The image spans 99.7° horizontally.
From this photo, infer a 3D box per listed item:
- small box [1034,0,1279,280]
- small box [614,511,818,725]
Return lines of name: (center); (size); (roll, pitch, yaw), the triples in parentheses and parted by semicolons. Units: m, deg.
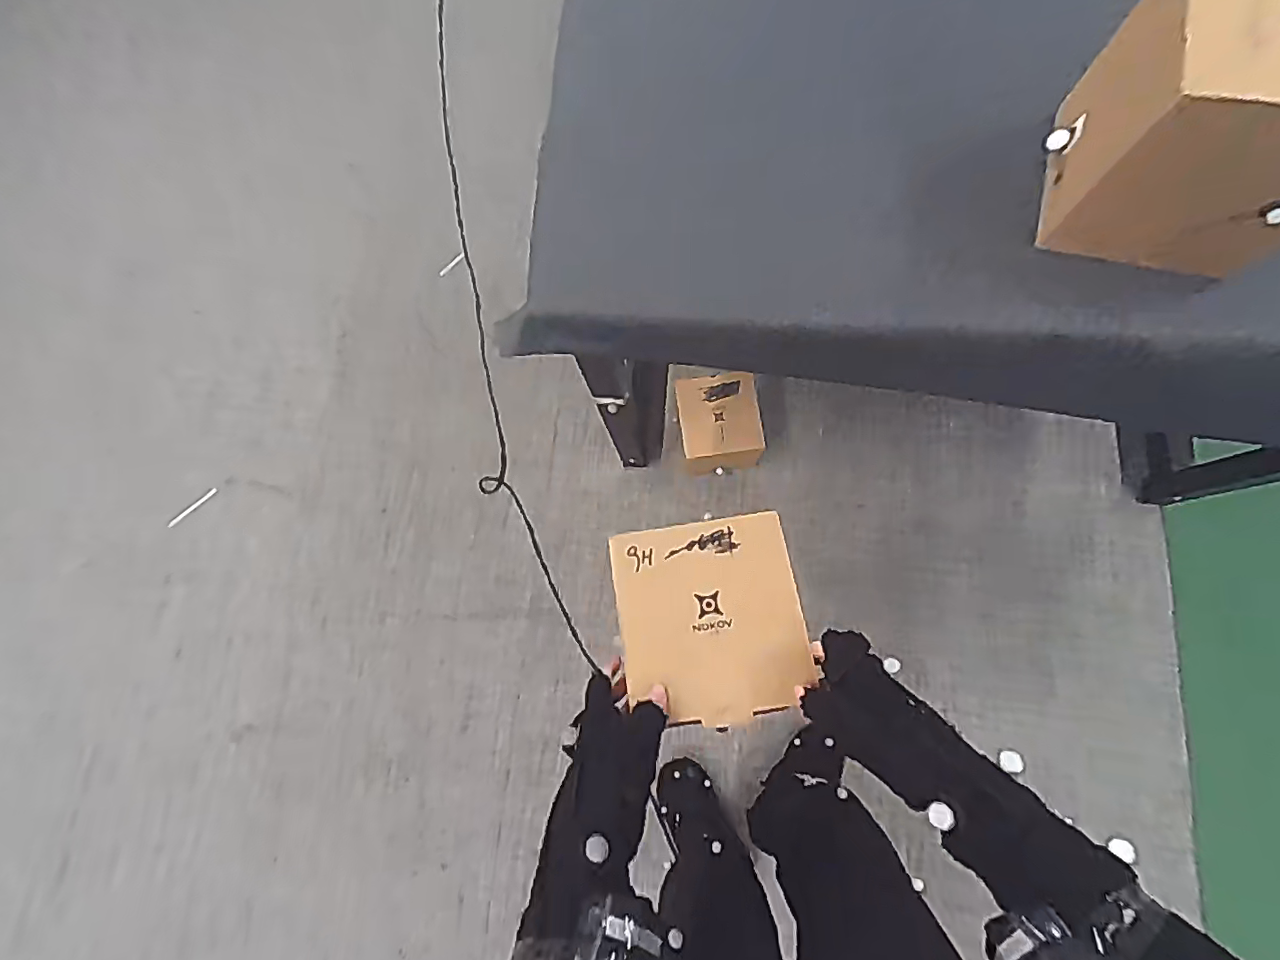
small box: (0.490, -0.299, 0.466); (0.179, 0.176, 0.168); (14, 77, 8)
small box: (0.070, 0.146, 0.569); (0.168, 0.176, 0.179); (-8, 70, 1)
